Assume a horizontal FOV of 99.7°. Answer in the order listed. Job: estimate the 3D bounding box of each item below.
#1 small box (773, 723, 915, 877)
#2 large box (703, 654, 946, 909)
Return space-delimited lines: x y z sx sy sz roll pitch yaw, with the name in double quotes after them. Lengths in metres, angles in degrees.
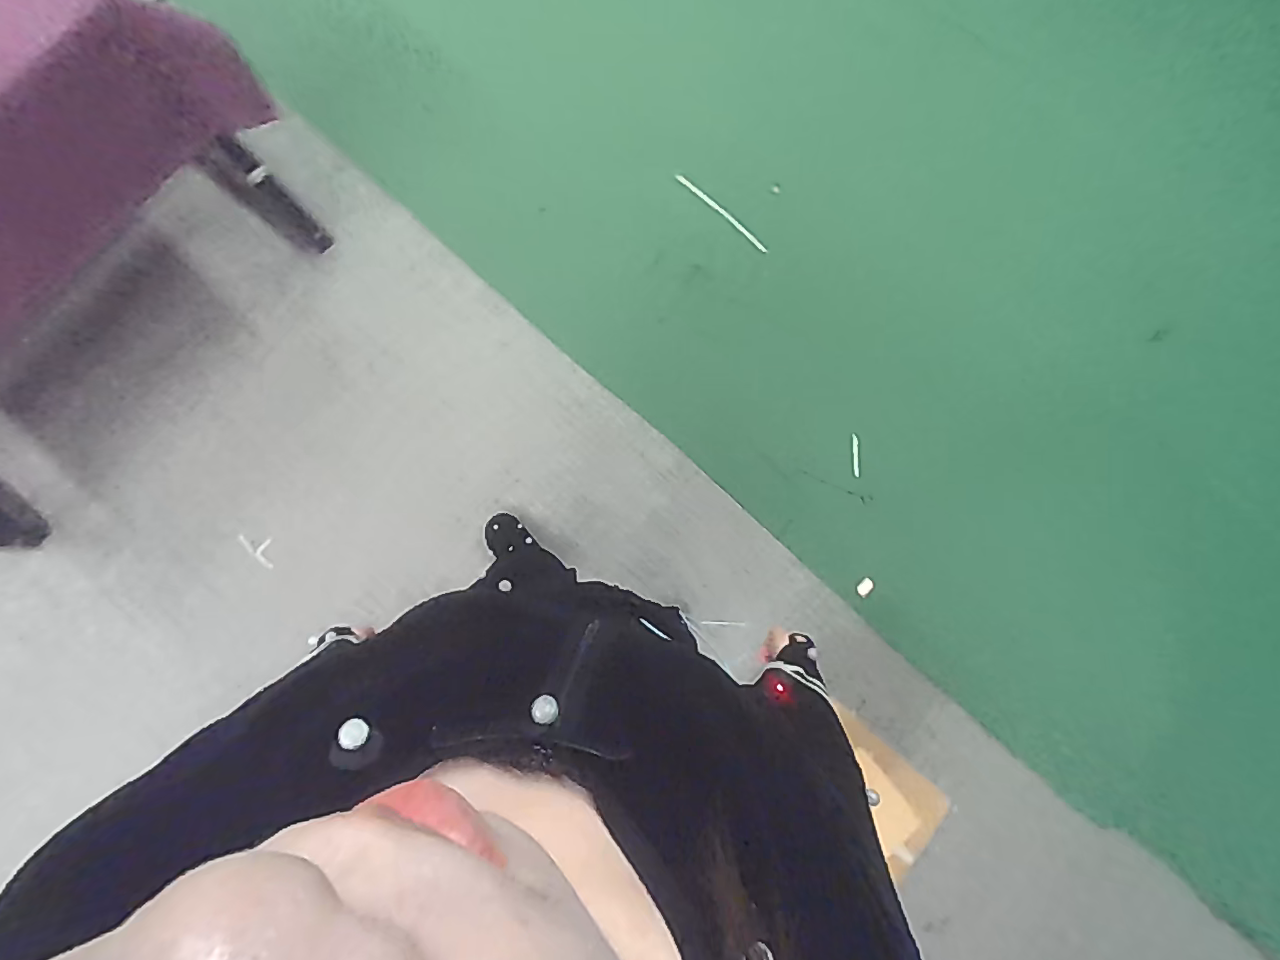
0.400 0.629 1.089 0.168 0.176 0.179 -37 85 -8 "small box"
0.422 0.698 1.329 0.408 0.320 0.320 42 83 2 "large box"
